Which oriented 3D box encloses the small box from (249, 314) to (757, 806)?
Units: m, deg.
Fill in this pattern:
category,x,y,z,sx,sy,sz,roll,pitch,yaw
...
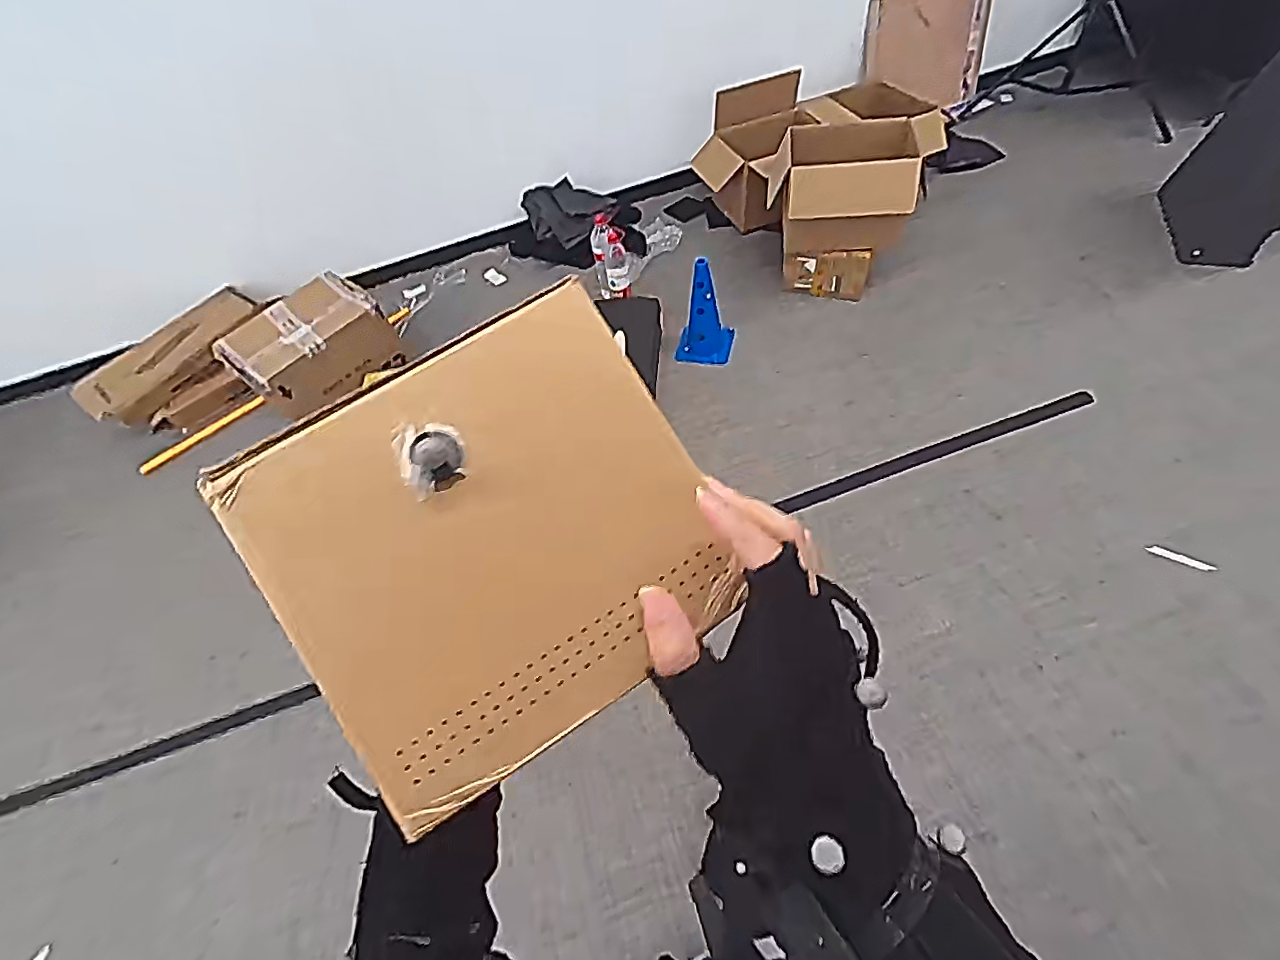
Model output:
category,x,y,z,sx,sy,sz,roll,pitch,yaw
small box,-0.063,0.043,0.319,0.179,0.168,0.176,-31,87,-8
